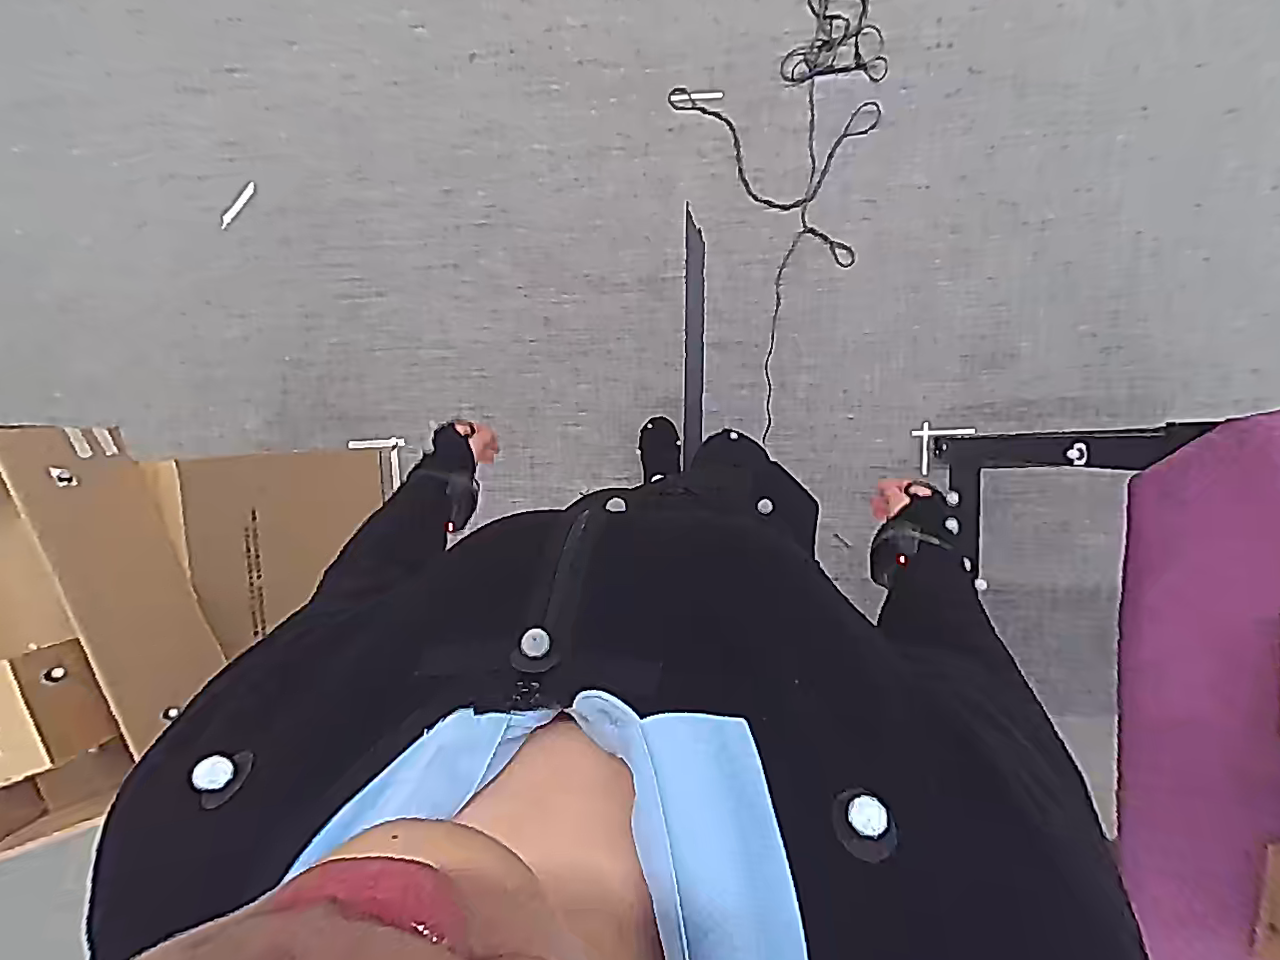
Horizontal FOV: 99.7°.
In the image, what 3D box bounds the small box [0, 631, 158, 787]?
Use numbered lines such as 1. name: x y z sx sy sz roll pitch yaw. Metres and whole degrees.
1. small box: -0.946 0.360 0.869 0.168 0.176 0.179 -20 92 6
